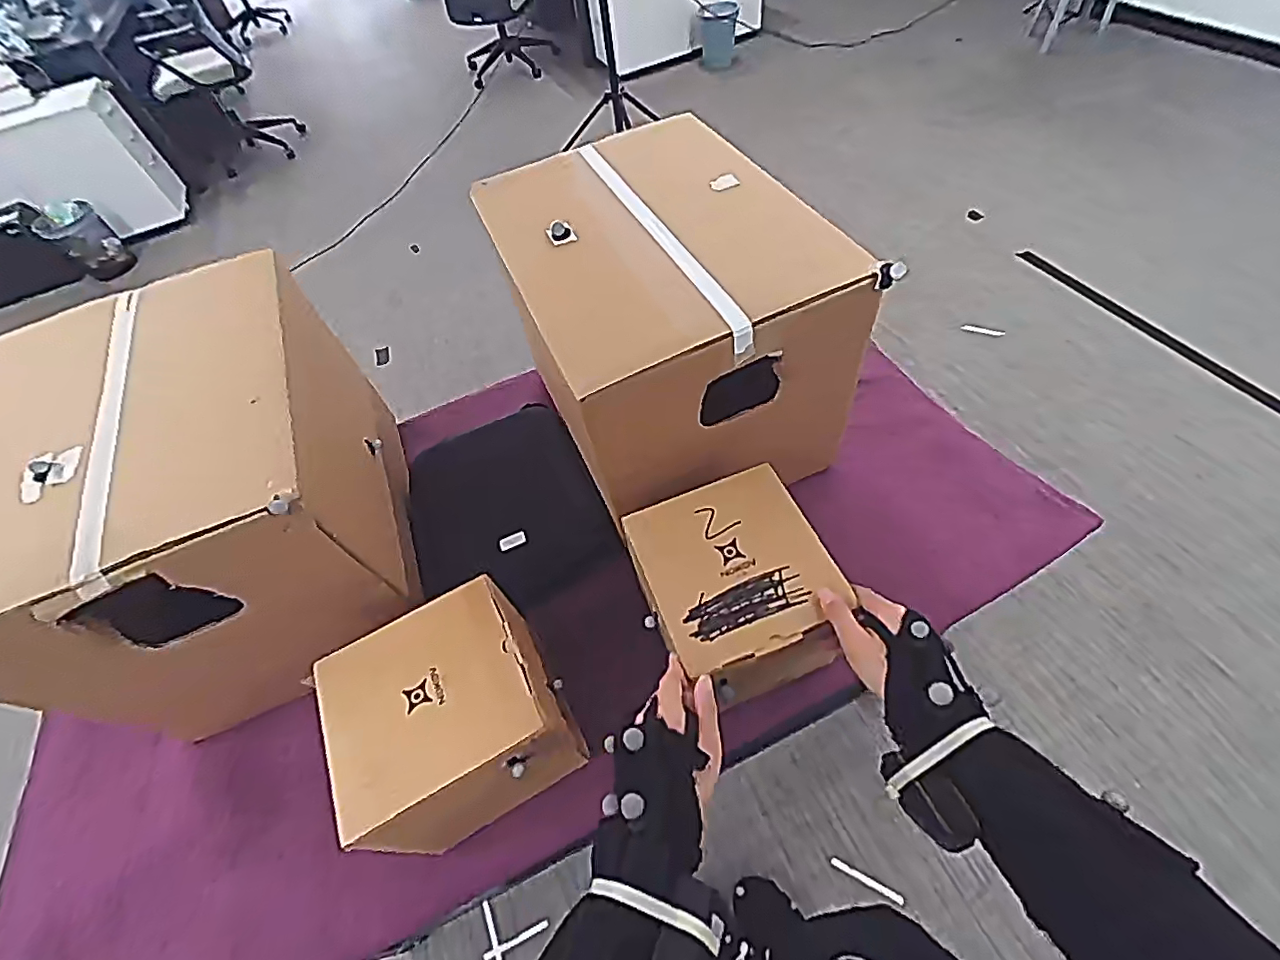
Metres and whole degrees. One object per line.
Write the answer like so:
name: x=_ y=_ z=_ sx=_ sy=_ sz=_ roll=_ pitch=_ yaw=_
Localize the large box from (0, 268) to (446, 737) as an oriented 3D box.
large box: x=-0.480 y=0.027 z=0.652 sx=0.320 sy=0.320 sz=0.408 roll=-25 pitch=58 yaw=-9
